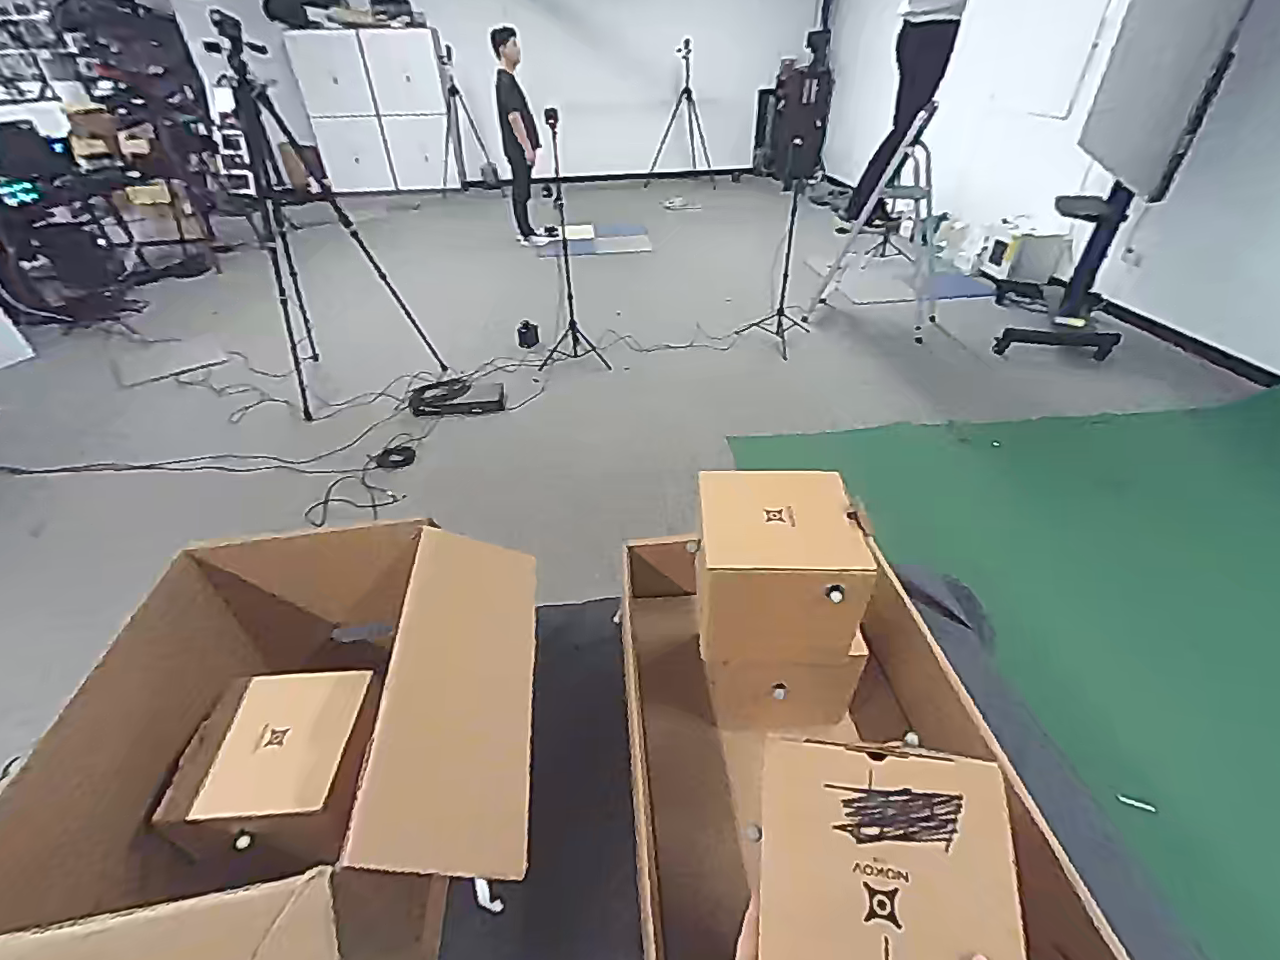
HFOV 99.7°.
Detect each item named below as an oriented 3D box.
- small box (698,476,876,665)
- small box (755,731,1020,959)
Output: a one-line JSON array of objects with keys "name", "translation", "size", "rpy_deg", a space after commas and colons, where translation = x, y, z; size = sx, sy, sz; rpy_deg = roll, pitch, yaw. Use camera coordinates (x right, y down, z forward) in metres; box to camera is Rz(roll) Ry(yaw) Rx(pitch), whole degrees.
[{"name": "small box", "translation": [0.162, 0.111, 0.667], "size": [0.179, 0.176, 0.168], "rpy_deg": [0, 39, 2]}, {"name": "small box", "translation": [0.183, 0.312, 0.443], "size": [0.168, 0.176, 0.179], "rpy_deg": [1, 69, 16]}]
